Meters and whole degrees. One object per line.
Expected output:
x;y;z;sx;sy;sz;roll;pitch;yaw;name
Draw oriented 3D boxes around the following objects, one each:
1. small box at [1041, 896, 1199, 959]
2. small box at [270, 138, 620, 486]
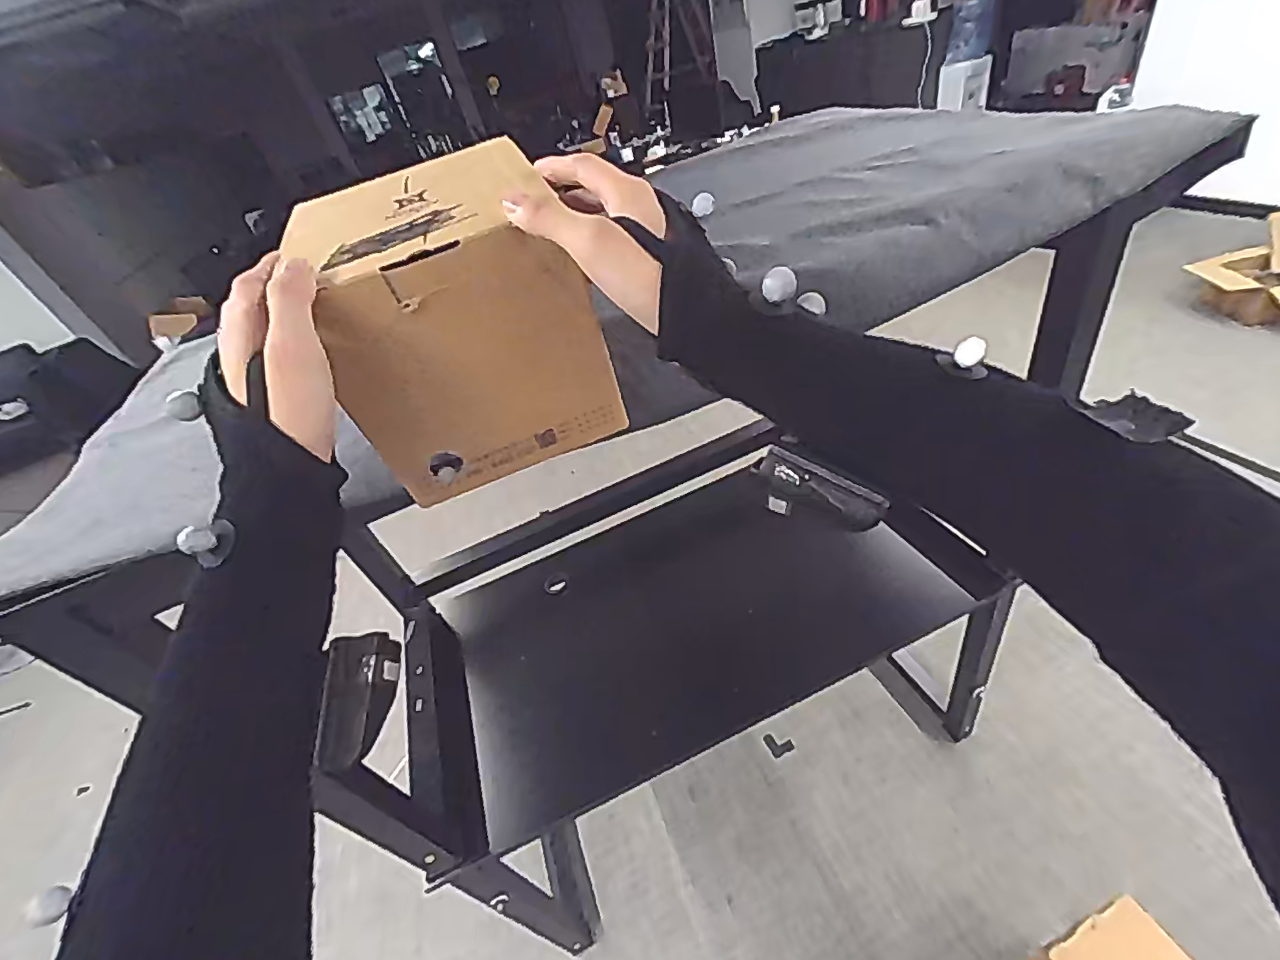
0.743;0.776;0.807;0.168;0.176;0.179;-27;40;-10;small box
-0.128;-0.117;0.400;0.168;0.176;0.179;-23;46;-6;small box
